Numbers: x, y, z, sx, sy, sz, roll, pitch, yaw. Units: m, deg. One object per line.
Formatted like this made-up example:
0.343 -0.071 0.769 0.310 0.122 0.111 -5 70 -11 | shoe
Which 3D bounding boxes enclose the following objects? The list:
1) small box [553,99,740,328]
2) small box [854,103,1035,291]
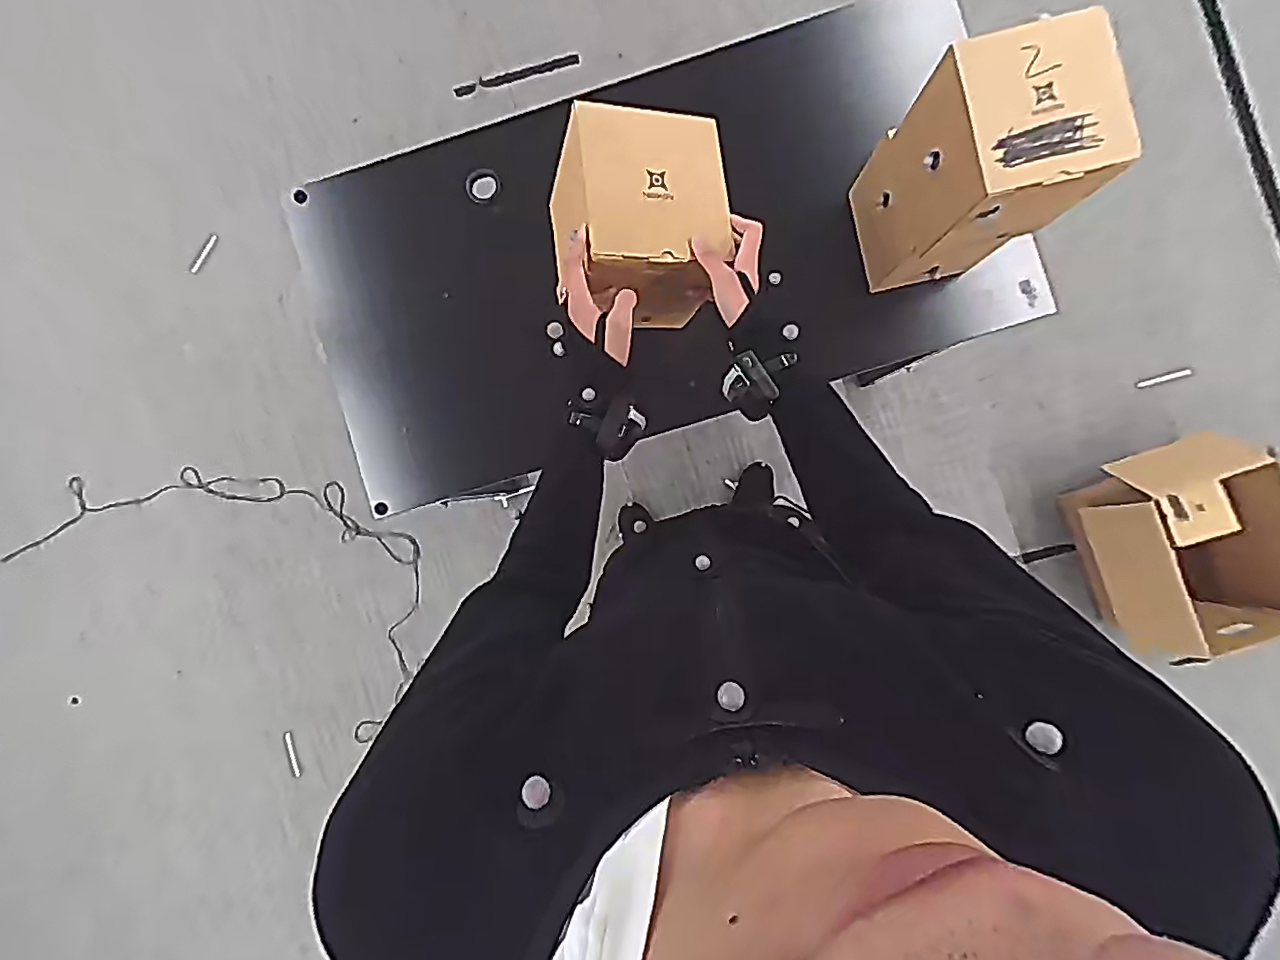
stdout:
-0.004 -0.299 0.643 0.168 0.176 0.179 -6 83 -18 | small box
0.443 -0.413 0.816 0.168 0.176 0.179 -12 89 4 | small box
